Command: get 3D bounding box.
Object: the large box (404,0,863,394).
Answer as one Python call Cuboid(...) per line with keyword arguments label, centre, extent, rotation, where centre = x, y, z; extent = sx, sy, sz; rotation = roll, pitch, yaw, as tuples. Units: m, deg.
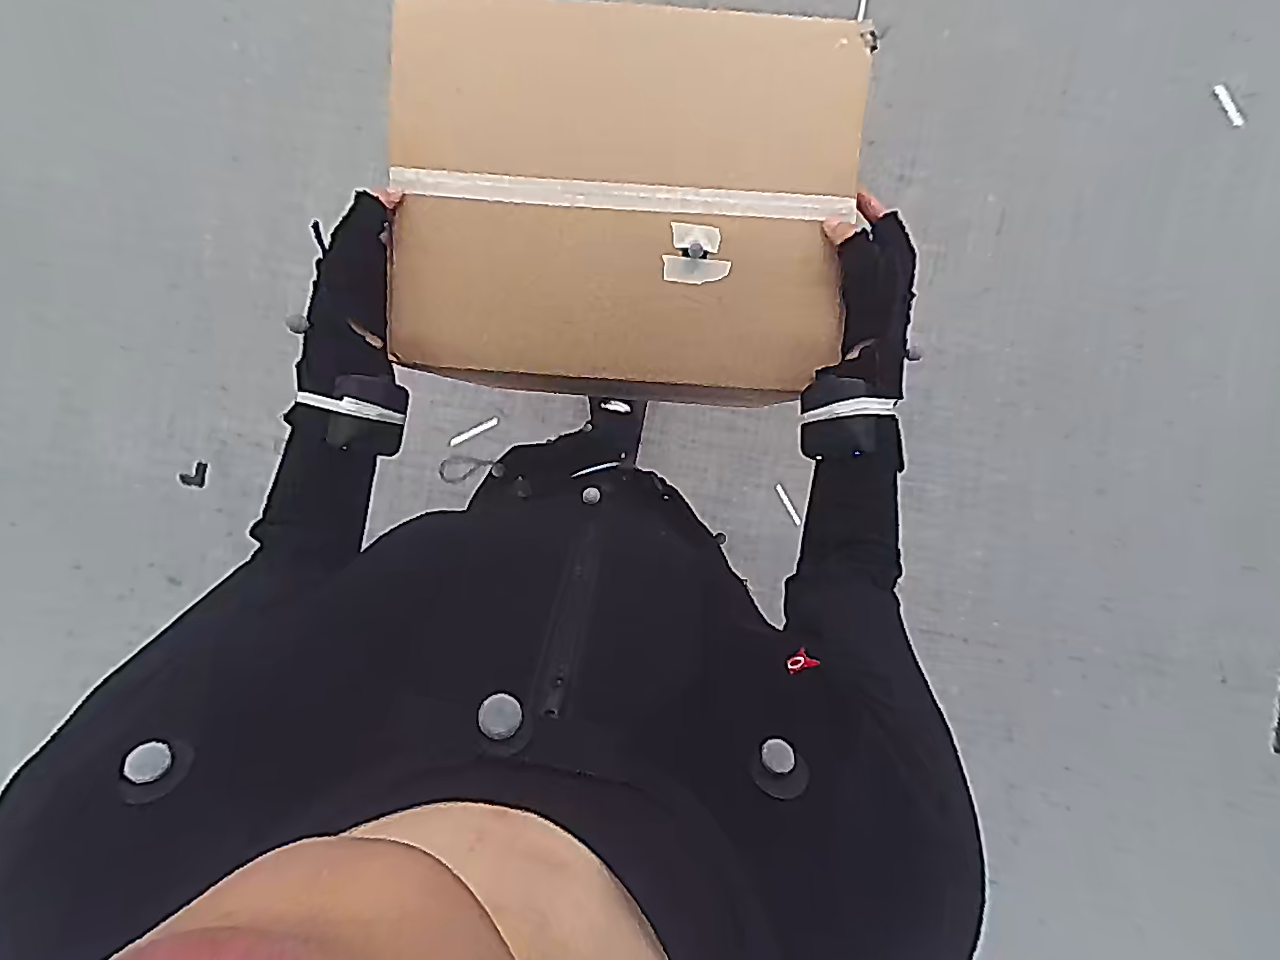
Cuboid(label="large box", centre=(-0.013, -0.274, 0.633), extent=(0.408, 0.320, 0.320), rotation=(4, 97, -1))
